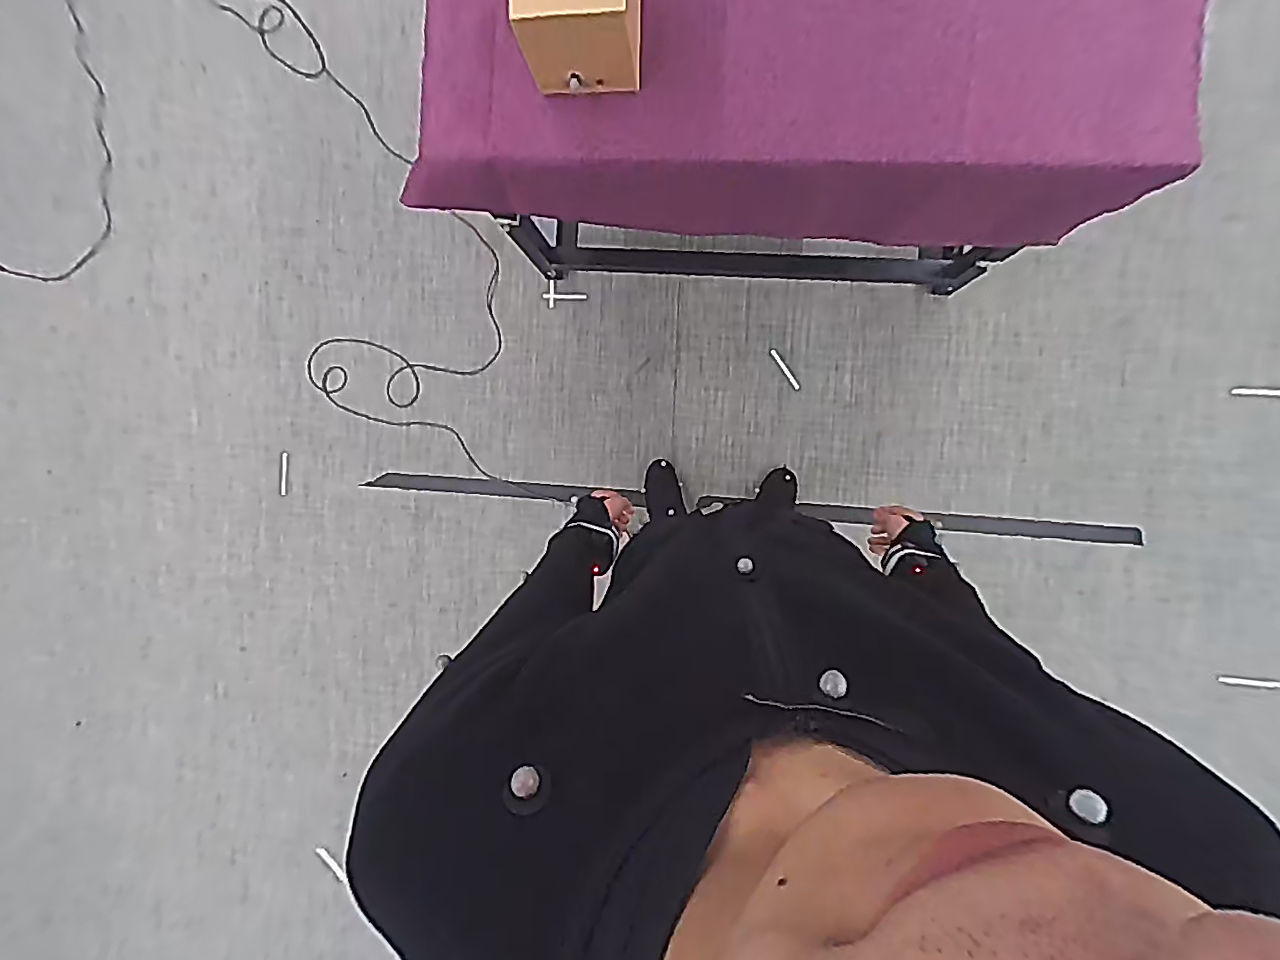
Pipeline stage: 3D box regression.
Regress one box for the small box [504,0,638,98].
[{"bbox_3d":[-0.095,-0.714,0.807,0.168,0.176,0.179,2,93,6],"label":"small box"}]
